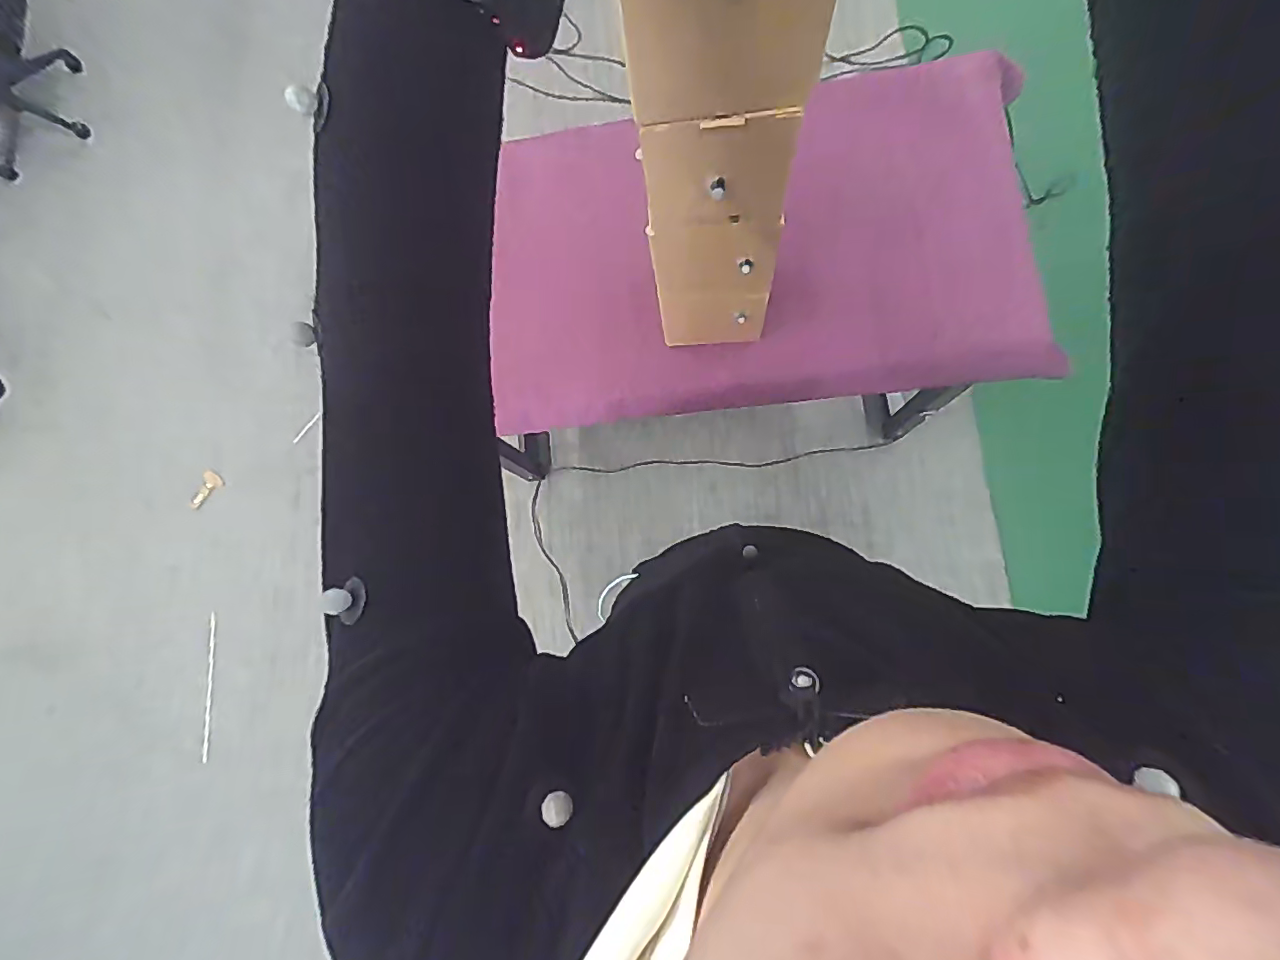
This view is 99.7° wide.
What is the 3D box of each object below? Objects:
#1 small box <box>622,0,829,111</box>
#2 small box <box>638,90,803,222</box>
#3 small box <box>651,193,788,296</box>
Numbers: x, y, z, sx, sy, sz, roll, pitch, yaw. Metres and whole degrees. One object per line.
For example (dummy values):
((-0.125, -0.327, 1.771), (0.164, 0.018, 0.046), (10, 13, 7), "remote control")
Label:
((0.070, -0.457, 0.466), (0.179, 0.176, 0.168), (-3, 78, 6), "small box")
((0.090, -0.422, 0.625), (0.168, 0.176, 0.179), (-1, 79, 7), "small box")
((0.110, -0.384, 0.783), (0.179, 0.176, 0.168), (-1, 79, 8), "small box")
